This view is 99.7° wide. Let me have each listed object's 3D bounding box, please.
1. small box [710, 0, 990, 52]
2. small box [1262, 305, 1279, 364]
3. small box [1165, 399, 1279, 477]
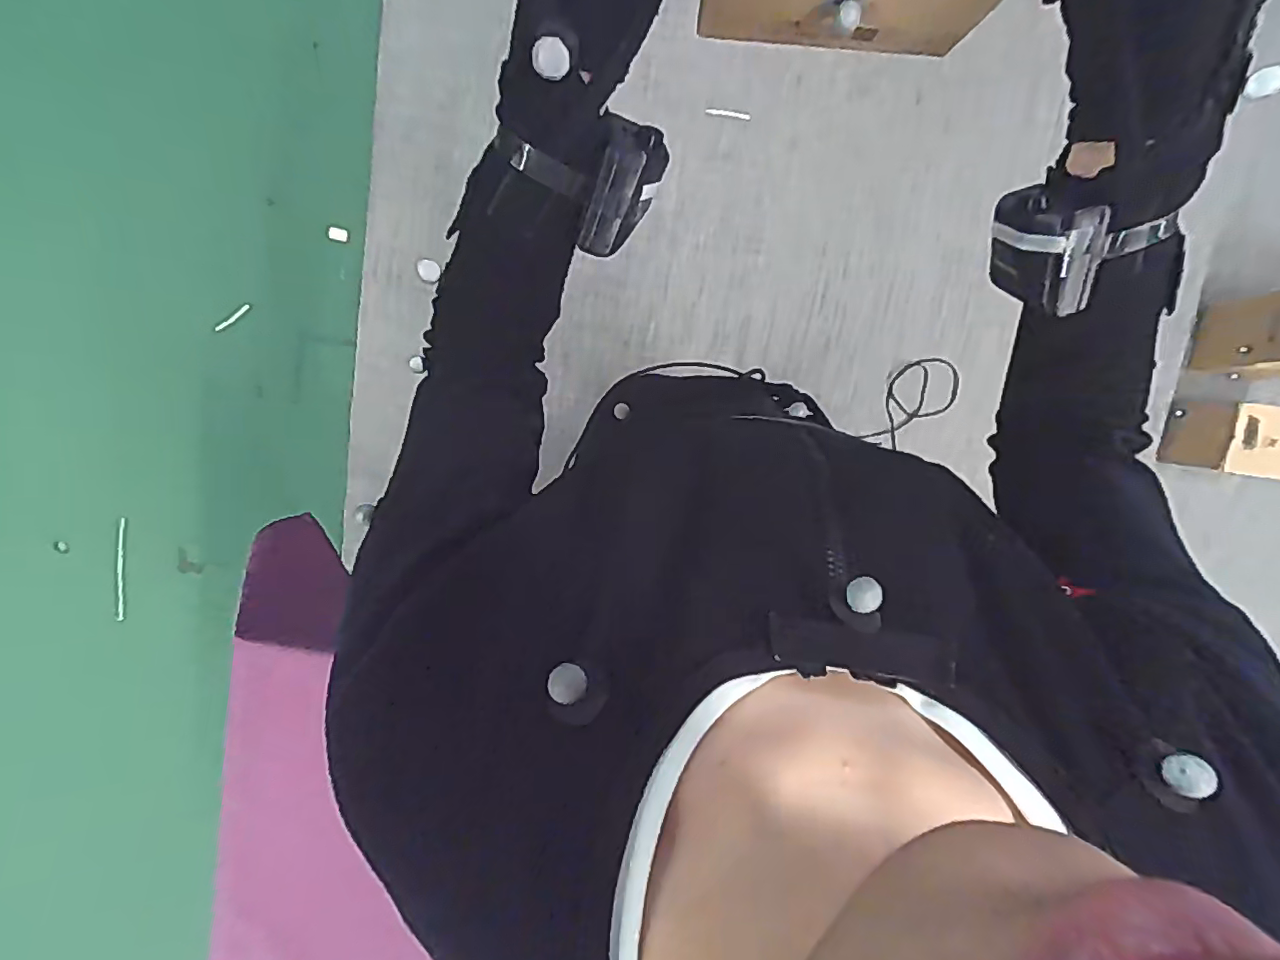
[{"bbox_3d":[0.125,-0.352,0.255,0.168,0.176,0.179,5,104,1],"label":"small box"},{"bbox_3d":[1.485,-0.319,1.118,0.179,0.176,0.168,9,99,0],"label":"small box"},{"bbox_3d":[1.453,-0.103,1.316,0.179,0.176,0.168,8,99,1],"label":"small box"}]
